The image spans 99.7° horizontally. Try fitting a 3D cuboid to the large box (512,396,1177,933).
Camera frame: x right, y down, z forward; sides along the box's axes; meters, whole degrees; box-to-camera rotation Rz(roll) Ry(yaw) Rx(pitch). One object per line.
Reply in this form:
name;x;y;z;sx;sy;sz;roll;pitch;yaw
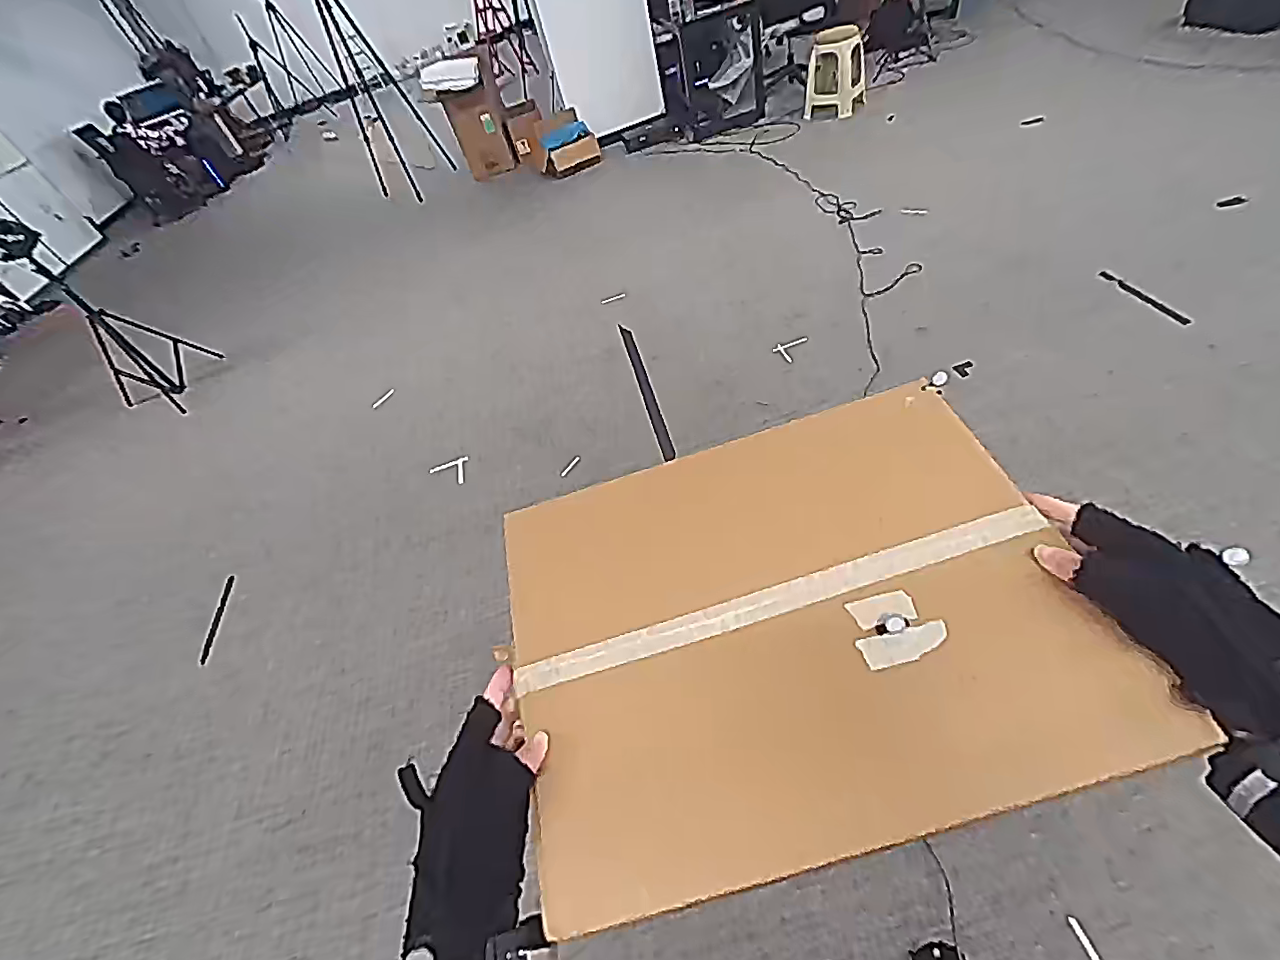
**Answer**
large box;0.131;0.183;0.534;0.408;0.320;0.320;-18;54;1
